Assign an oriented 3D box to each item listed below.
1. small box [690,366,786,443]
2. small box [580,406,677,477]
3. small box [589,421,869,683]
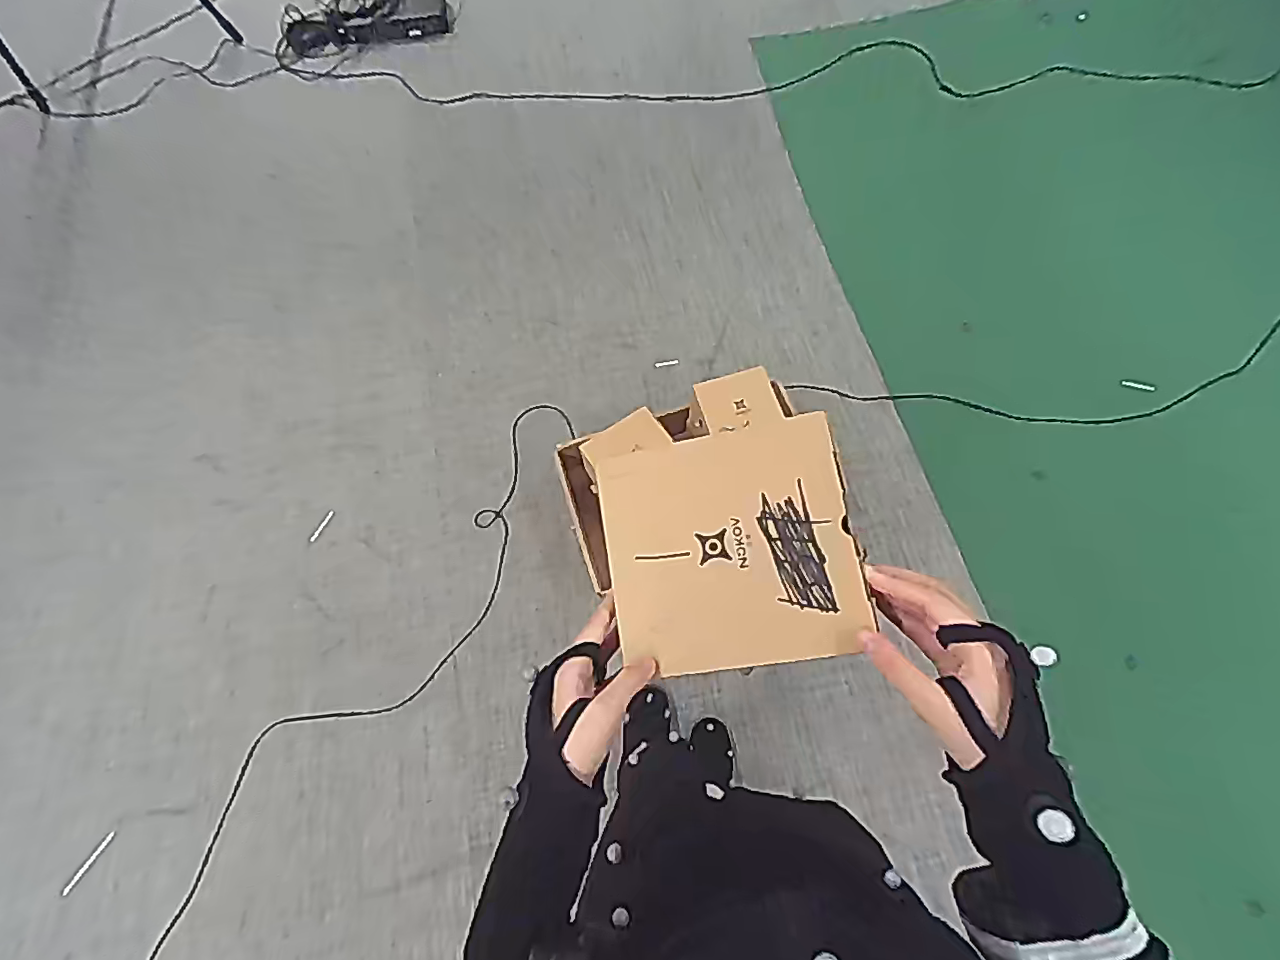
[{"bbox_3d":[0.217,-0.128,1.237,0.168,0.176,0.179,-16,71,-2],"label":"small box"},{"bbox_3d":[-0.014,-0.029,1.215,0.179,0.176,0.168,-33,73,-10],"label":"small box"},{"bbox_3d":[0.074,0.063,0.460,0.179,0.176,0.168,-12,78,13],"label":"small box"}]
